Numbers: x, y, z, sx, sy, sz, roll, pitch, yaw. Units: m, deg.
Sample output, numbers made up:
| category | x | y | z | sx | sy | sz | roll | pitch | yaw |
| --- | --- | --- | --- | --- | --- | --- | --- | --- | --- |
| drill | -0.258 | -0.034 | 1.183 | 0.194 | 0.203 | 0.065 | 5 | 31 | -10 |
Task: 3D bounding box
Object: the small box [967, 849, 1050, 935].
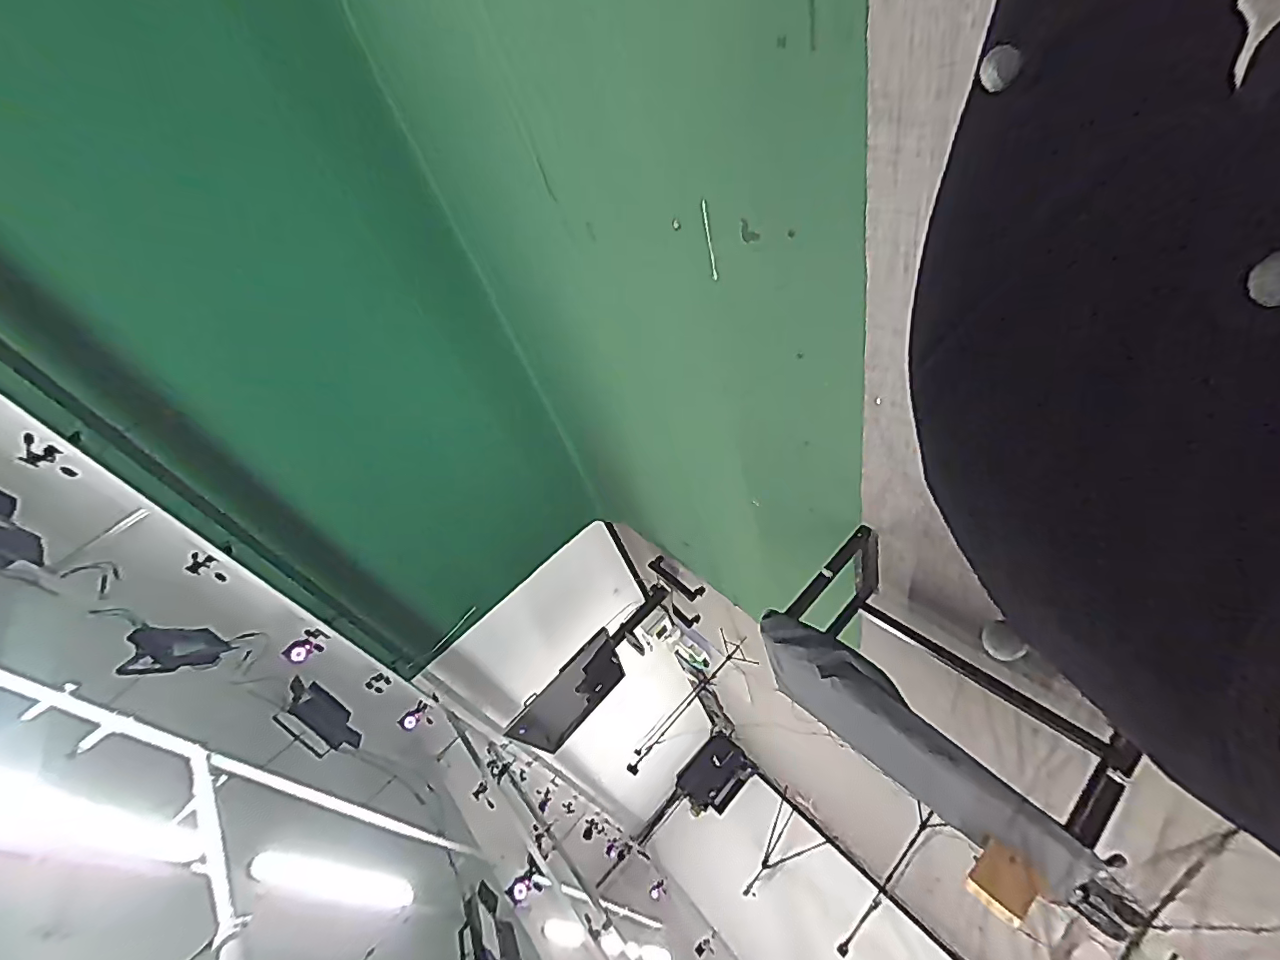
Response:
| category | x | y | z | sx | sy | sz | roll | pitch | yaw |
| --- | --- | --- | --- | --- | --- | --- | --- | --- | --- |
| small box | 1.289 | 1.436 | 1.896 | 0.179 | 0.176 | 0.168 | 32 | 154 | 43 |
